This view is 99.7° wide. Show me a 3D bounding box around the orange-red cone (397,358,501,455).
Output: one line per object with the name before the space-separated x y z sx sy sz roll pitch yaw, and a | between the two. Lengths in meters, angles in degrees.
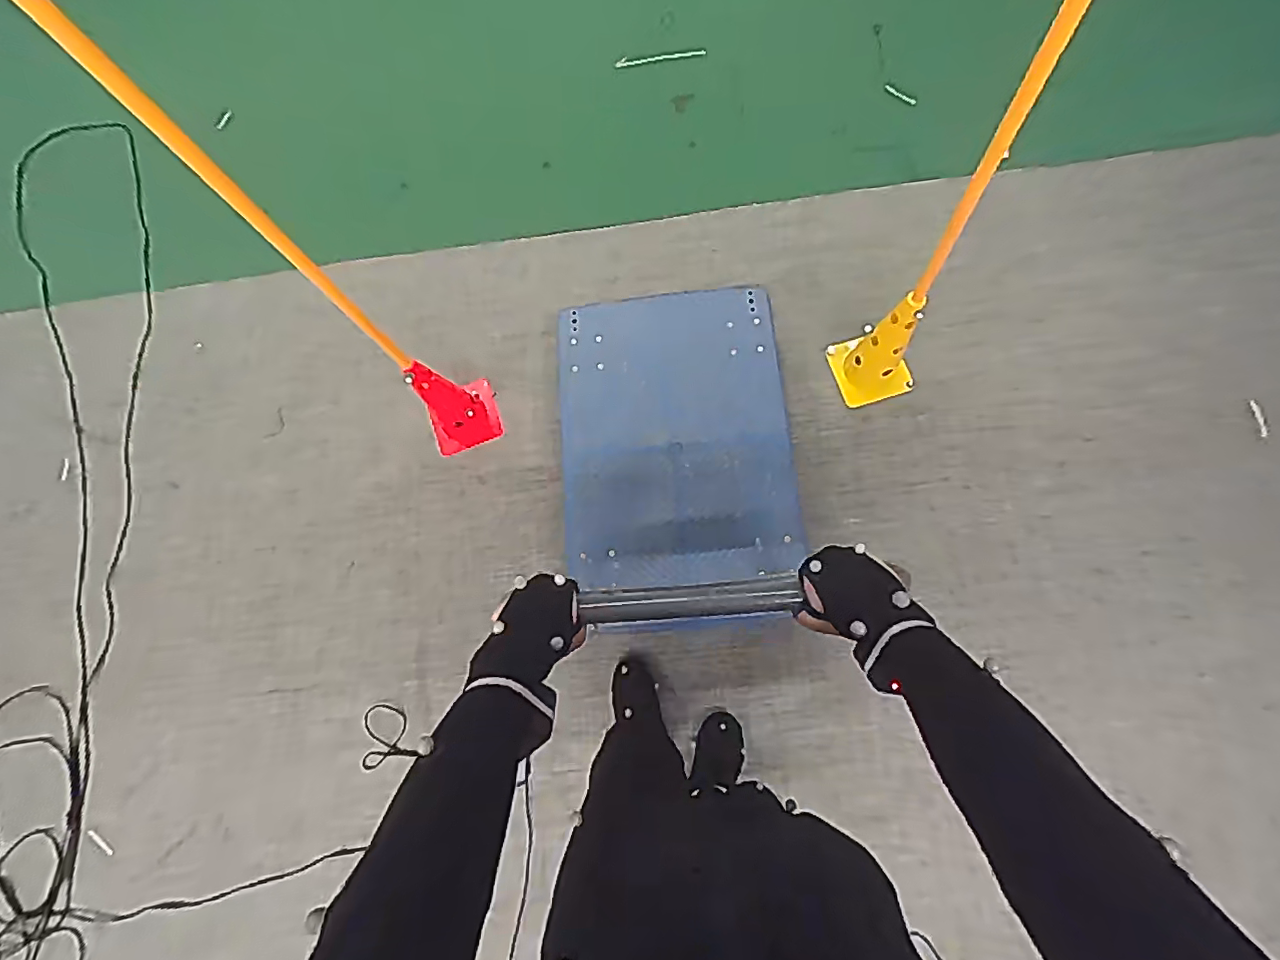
orange-red cone | -0.541 -0.227 1.446 0.199 0.360 0.198 -21 75 1
